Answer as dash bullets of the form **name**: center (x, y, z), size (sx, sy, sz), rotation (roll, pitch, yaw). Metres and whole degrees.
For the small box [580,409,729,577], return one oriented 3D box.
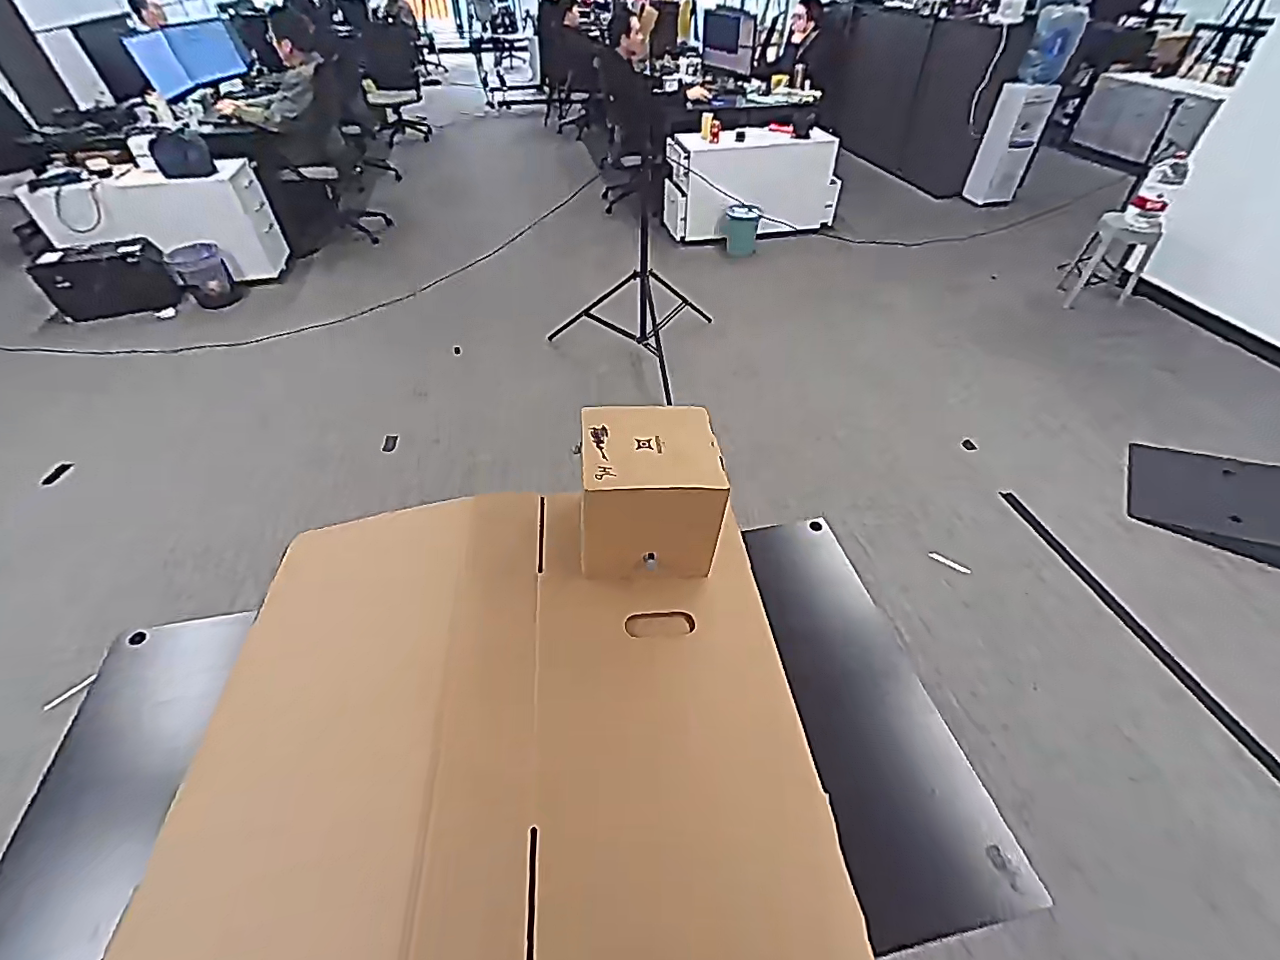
- **small box**: center (0.008, 0.020, 0.747), size (0.179, 0.176, 0.168), rotation (0, 42, -7)
